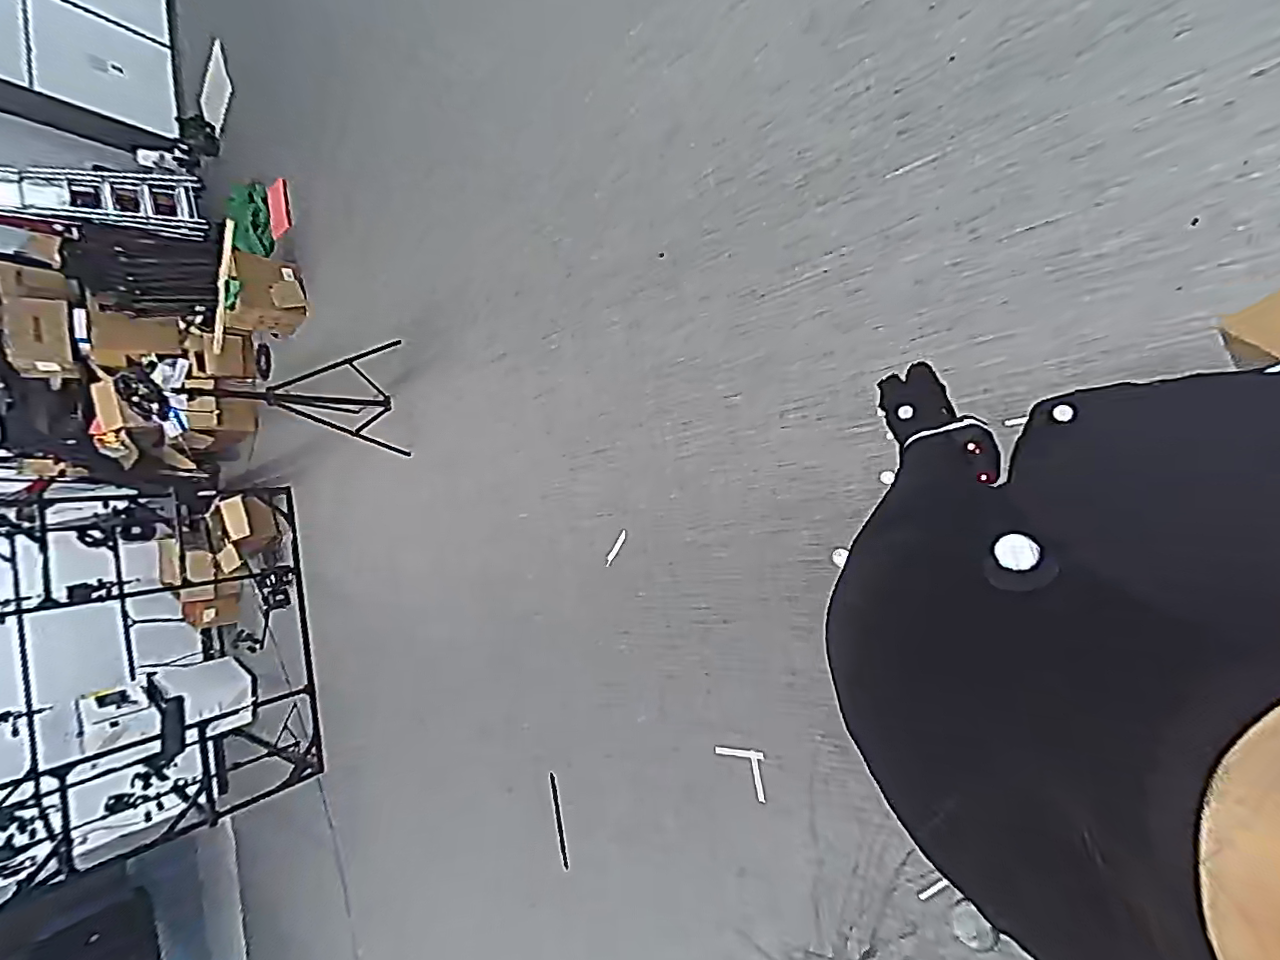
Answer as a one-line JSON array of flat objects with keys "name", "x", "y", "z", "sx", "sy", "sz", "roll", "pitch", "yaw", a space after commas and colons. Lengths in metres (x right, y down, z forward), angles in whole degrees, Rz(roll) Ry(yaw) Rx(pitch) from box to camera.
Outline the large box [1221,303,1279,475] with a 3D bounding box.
[{"name": "large box", "x": 0.947, "y": -0.055, "z": 0.551, "sx": 0.320, "sy": 0.408, "sz": 0.320, "roll": -30, "pitch": 106, "yaw": 34}]
